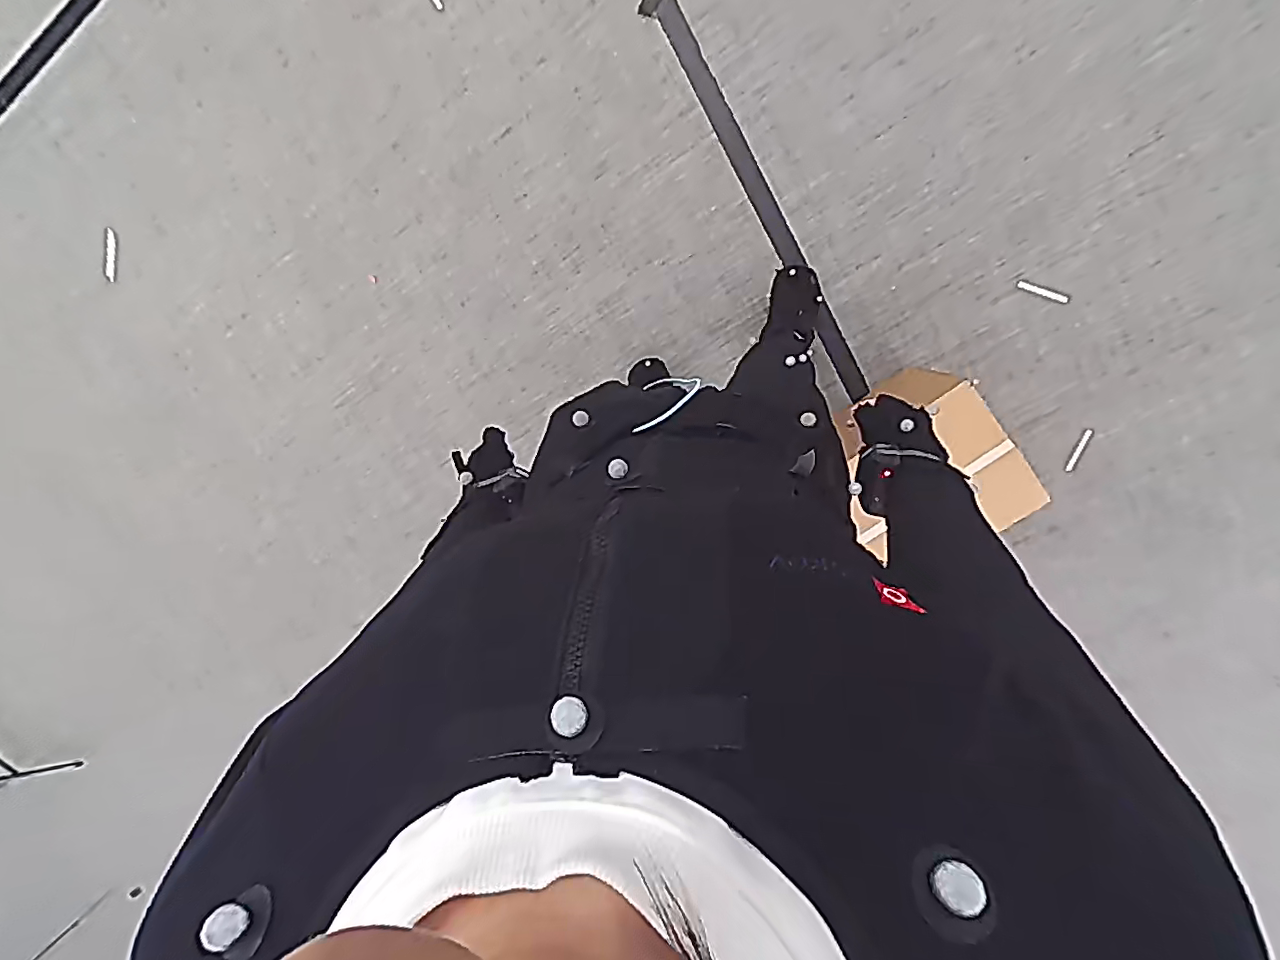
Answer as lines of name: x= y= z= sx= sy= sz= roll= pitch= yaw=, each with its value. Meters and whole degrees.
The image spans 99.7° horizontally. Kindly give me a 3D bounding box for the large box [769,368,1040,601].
large box: x=0.565 y=-0.006 z=1.242 sx=0.408 sy=0.320 sz=0.320 roll=-38 pitch=100 yaw=14
